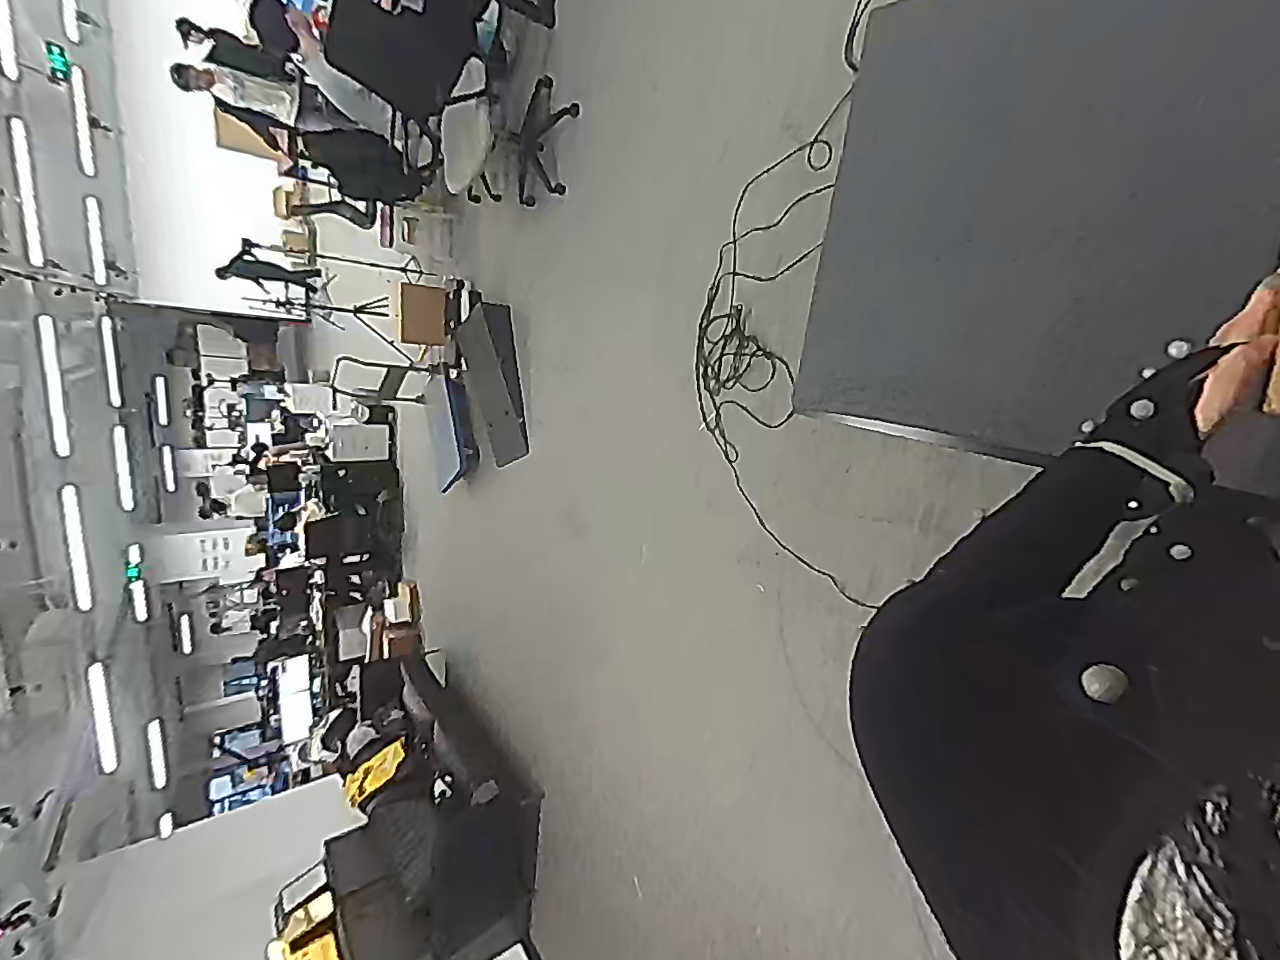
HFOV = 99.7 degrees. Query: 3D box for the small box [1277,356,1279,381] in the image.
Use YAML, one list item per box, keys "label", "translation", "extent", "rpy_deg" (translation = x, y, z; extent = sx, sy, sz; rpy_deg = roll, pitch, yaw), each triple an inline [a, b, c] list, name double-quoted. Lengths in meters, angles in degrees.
- label: "small box"
  translation: [0.556, -0.136, 0.347]
  extent: [0.168, 0.176, 0.179]
  rpy_deg: [11, 105, 44]
